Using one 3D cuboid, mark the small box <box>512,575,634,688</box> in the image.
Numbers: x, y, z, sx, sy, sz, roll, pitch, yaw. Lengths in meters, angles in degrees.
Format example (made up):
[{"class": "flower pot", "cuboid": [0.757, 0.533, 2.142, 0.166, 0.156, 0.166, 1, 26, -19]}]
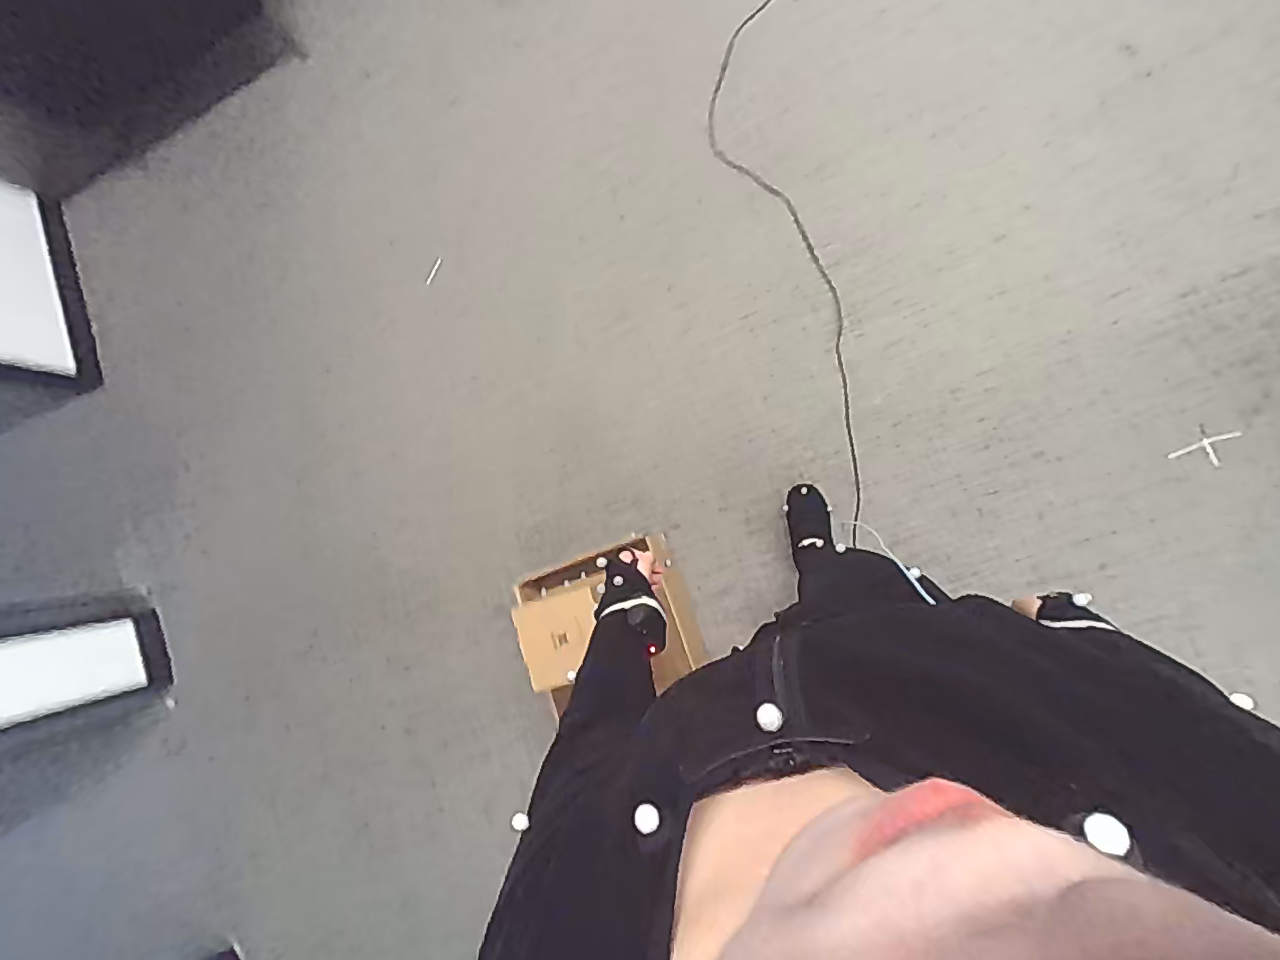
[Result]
[{"class": "small box", "cuboid": [-0.132, 0.305, 1.116, 0.179, 0.176, 0.168, -19, 84, 13]}]
